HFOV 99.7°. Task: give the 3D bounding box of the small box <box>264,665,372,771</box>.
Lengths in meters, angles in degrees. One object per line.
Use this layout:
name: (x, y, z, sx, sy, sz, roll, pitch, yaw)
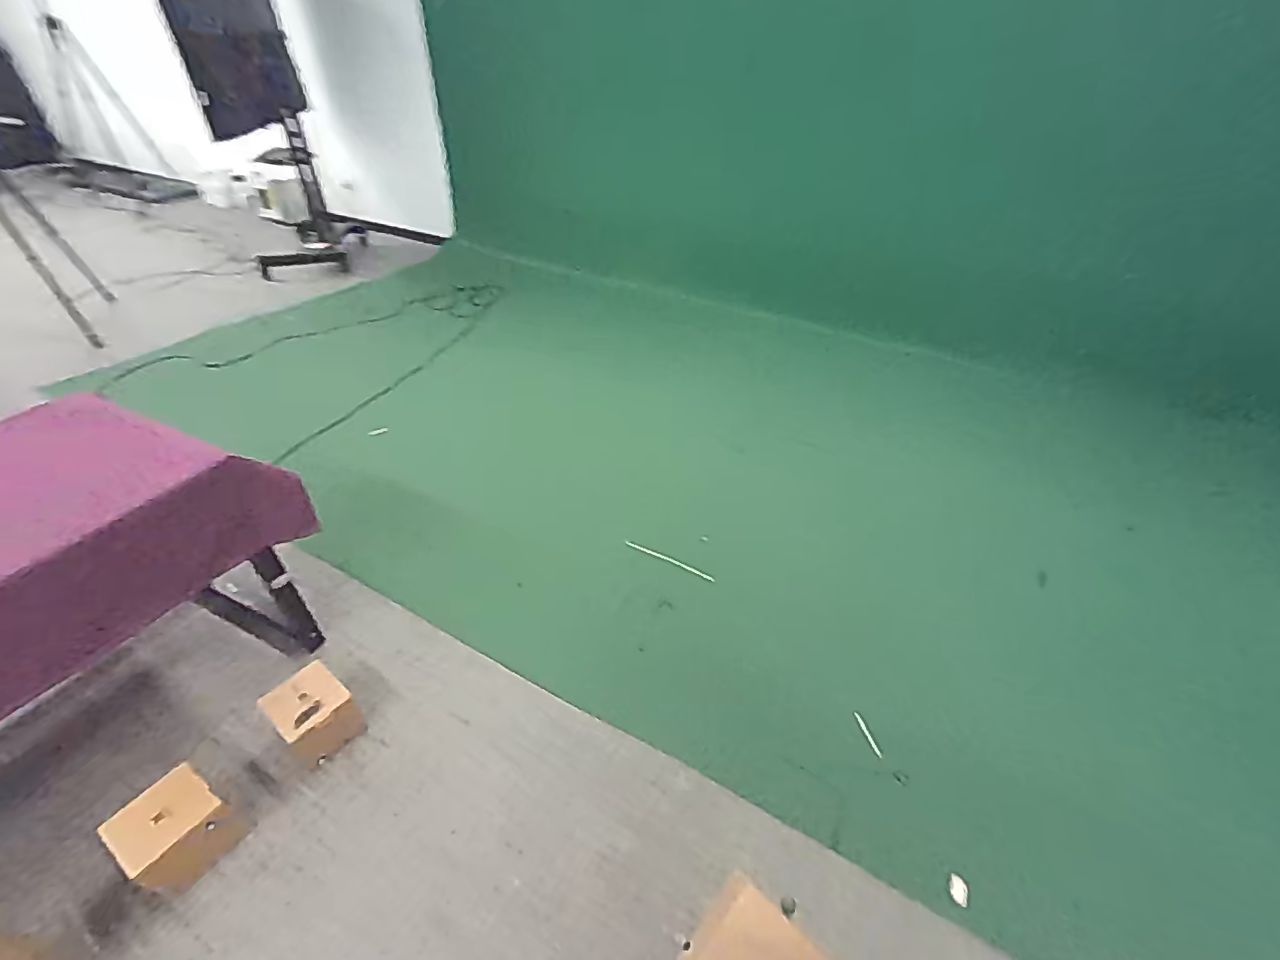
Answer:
small box: (-0.856, 0.645, 1.452, 0.179, 0.176, 0.168, 26, 44, 28)
